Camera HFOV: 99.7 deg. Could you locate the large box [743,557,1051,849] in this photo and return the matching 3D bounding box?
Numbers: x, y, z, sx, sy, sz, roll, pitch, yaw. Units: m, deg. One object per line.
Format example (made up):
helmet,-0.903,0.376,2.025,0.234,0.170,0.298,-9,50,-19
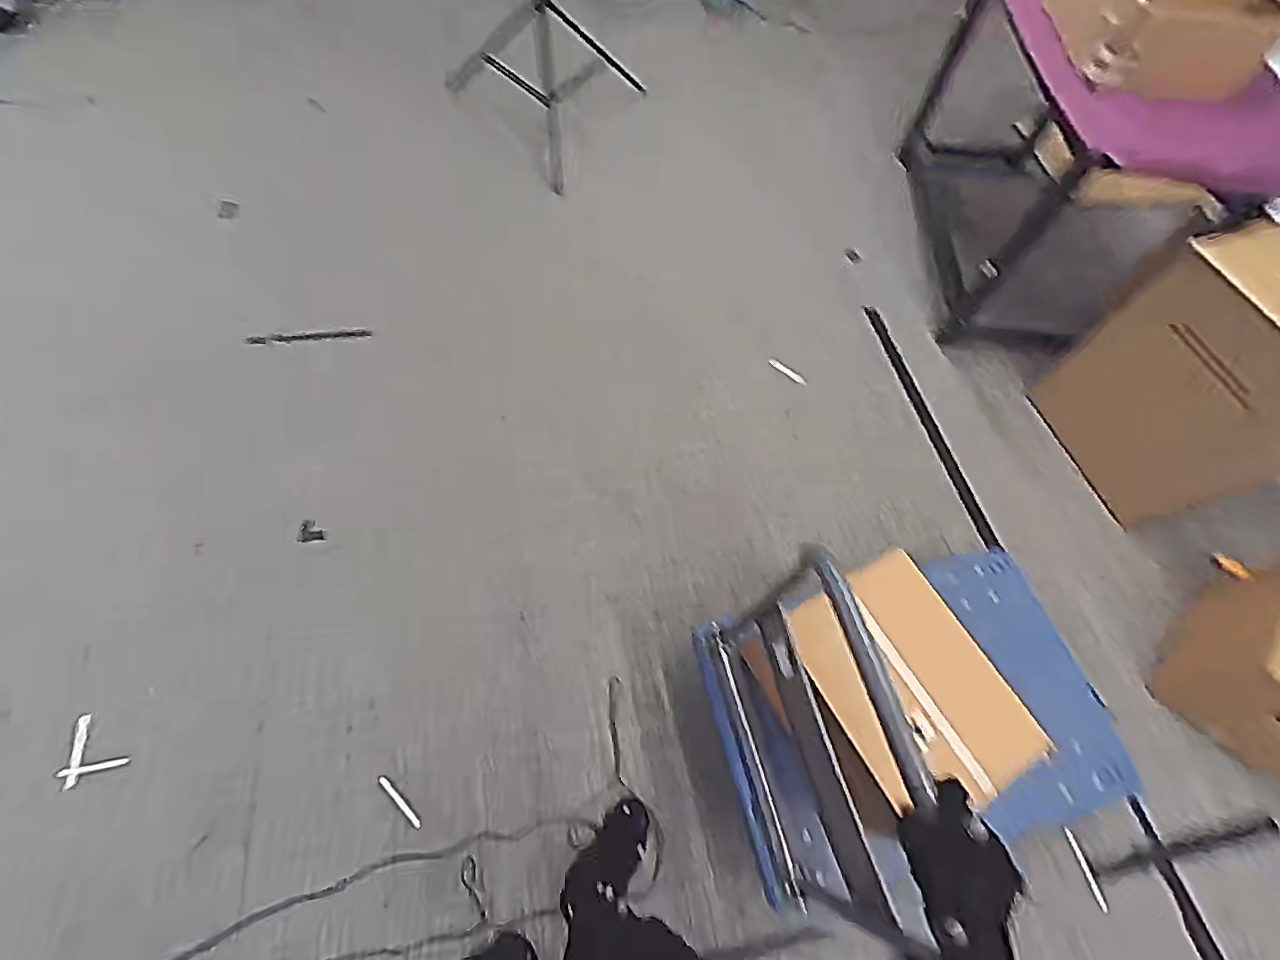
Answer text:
large box,0.471,0.433,1.093,0.320,0.320,0.408,-25,67,-15
